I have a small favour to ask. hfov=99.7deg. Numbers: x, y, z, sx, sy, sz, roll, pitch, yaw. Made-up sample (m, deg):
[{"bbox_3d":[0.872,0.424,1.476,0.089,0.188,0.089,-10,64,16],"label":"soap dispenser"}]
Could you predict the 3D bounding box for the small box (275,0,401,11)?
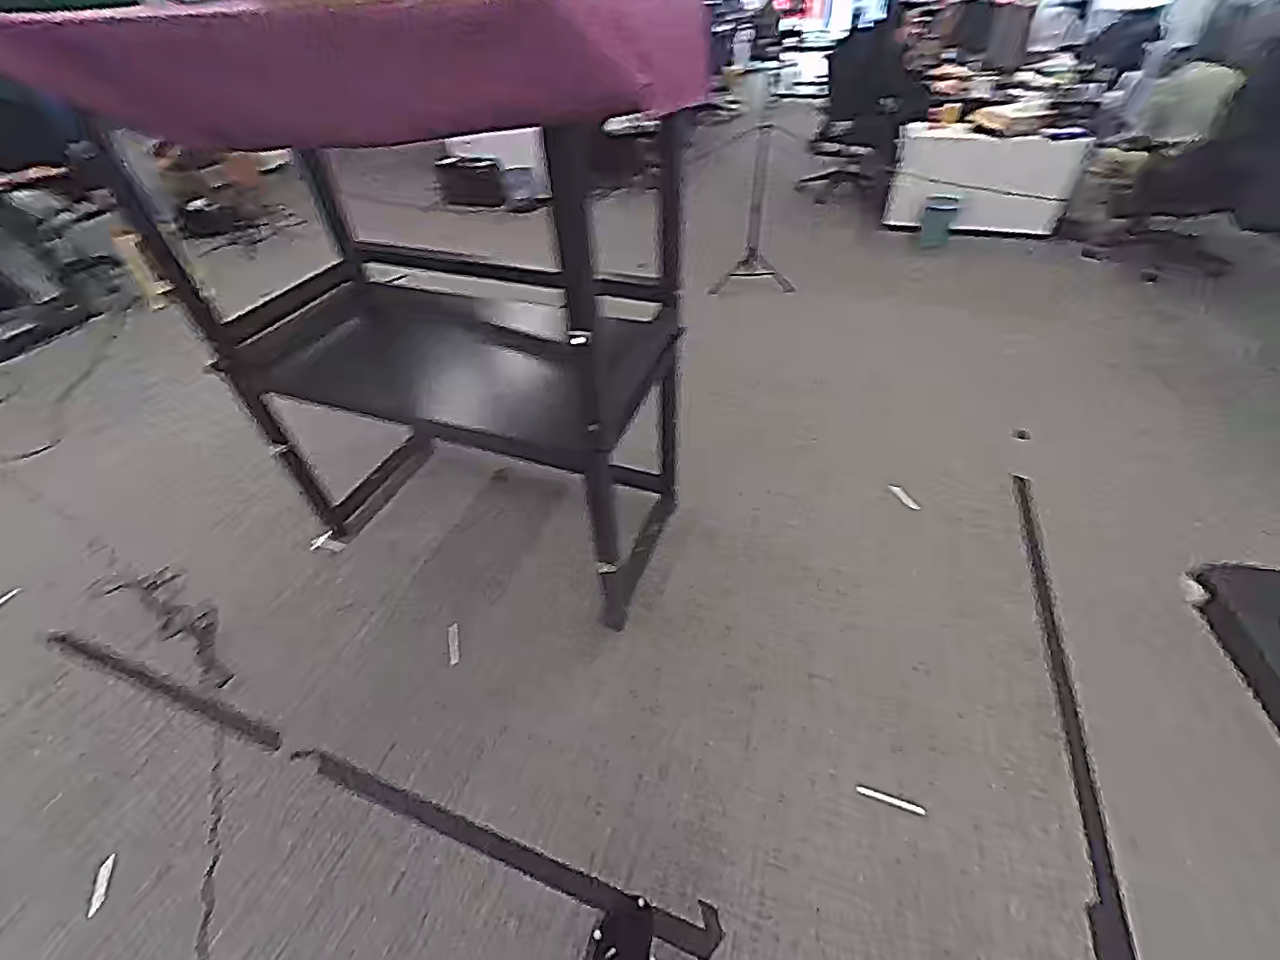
[{"bbox_3d":[-0.525,-0.891,0.893,0.168,0.176,0.179,10,44,13],"label":"small box"}]
